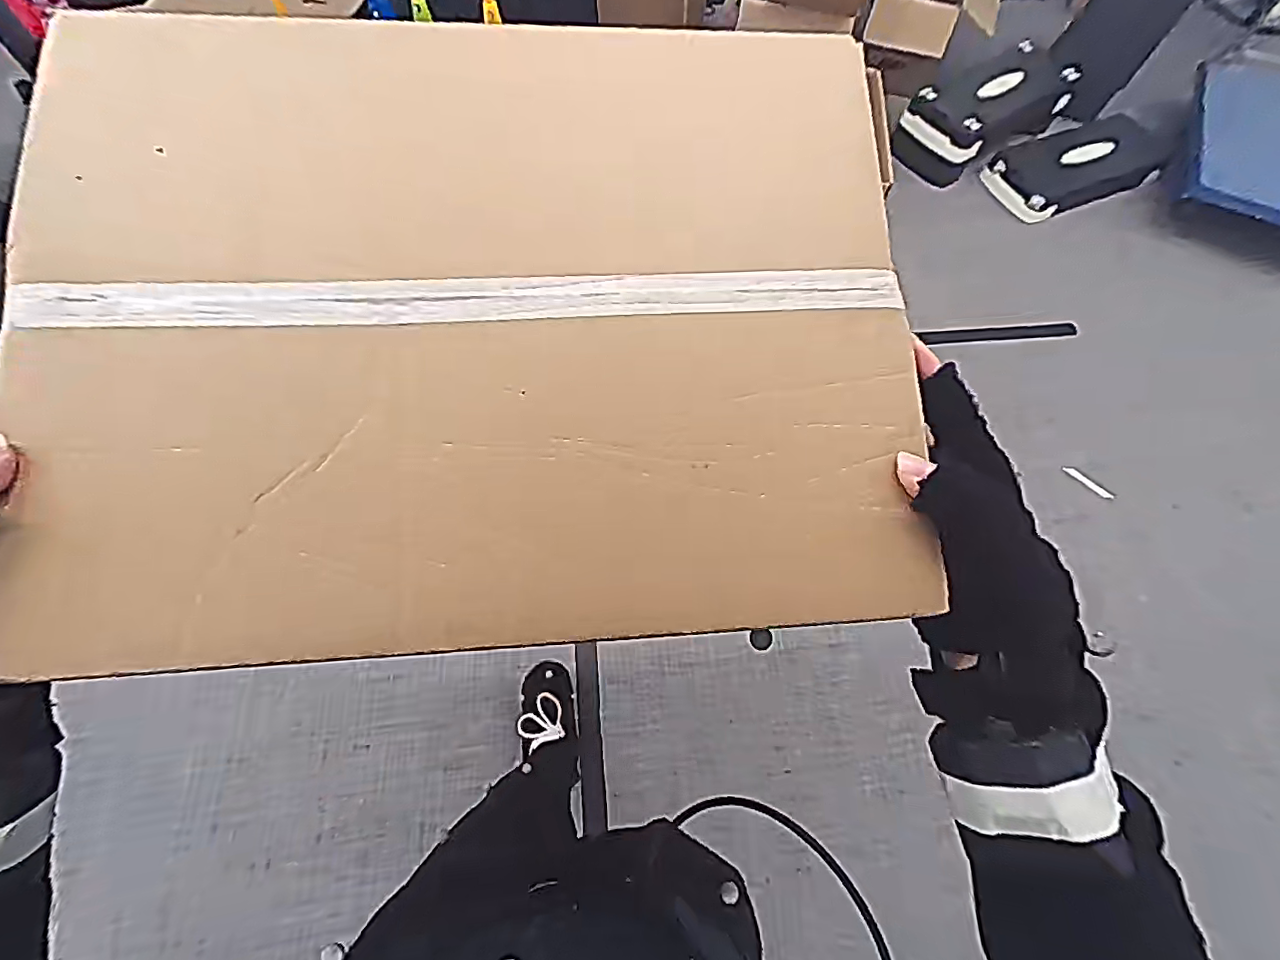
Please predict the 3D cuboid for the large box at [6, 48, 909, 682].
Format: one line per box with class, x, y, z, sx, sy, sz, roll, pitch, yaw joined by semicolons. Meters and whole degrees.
large box;-0.087;-0.055;0.410;0.408;0.320;0.320;-3;80;-5
